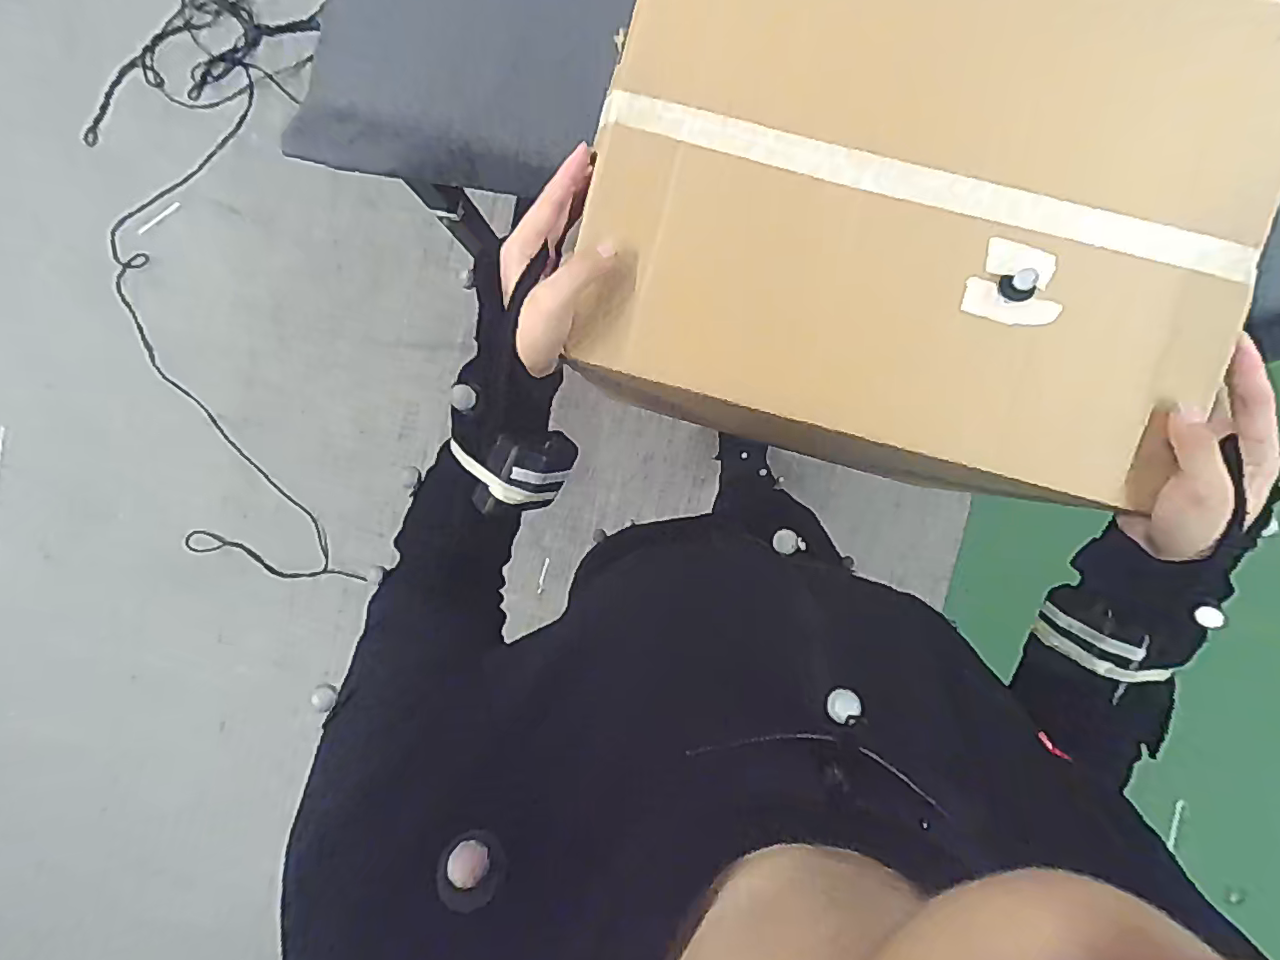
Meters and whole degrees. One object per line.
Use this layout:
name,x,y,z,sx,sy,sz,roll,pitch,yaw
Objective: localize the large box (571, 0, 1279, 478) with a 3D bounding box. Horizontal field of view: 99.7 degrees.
large box,0.183,-0.202,0.490,0.408,0.320,0.320,15,94,1
